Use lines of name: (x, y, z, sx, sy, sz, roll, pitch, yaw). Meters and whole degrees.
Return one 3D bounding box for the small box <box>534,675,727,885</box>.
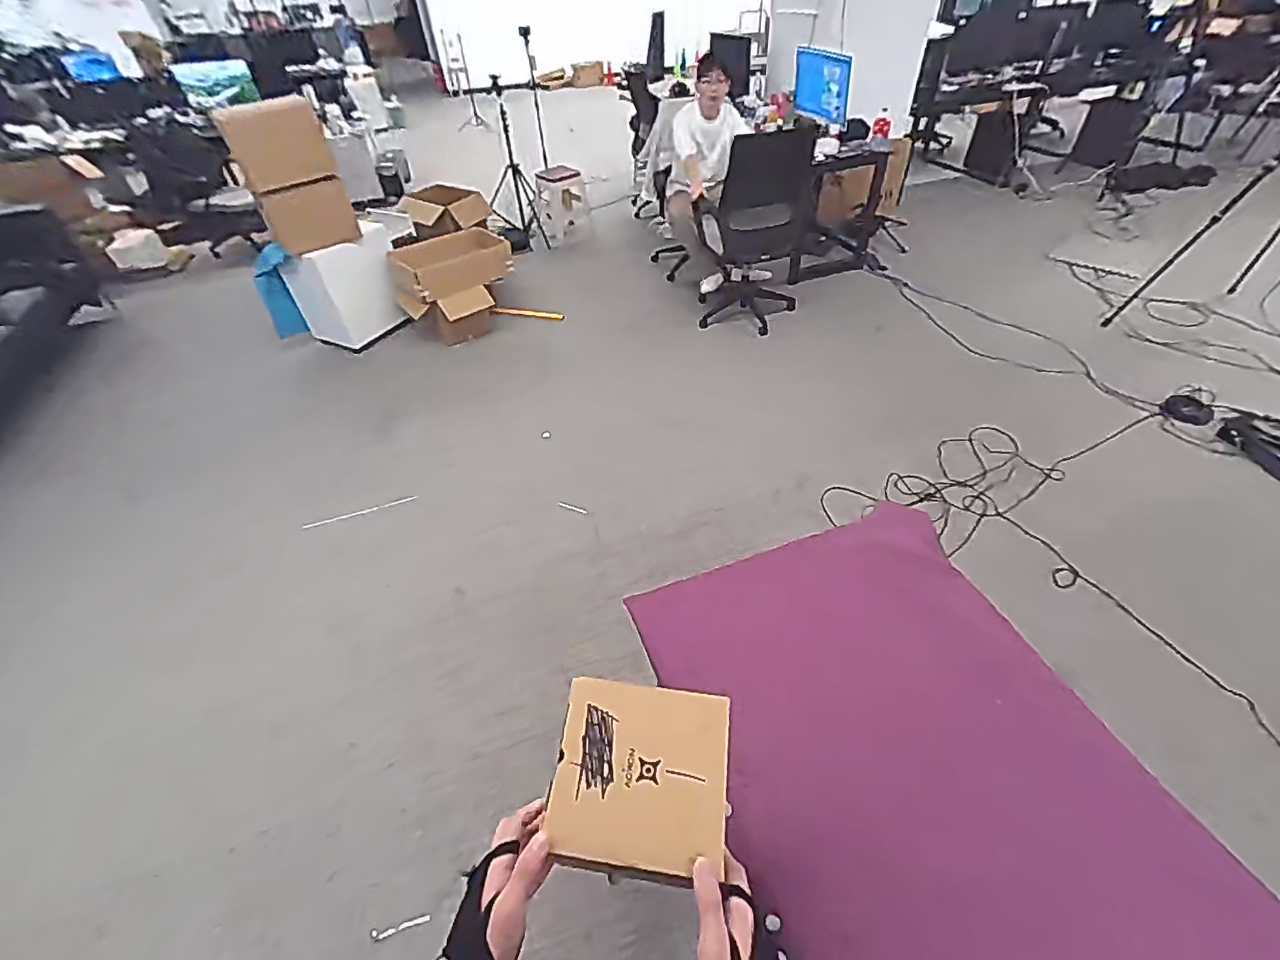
small box: (-0.001, 0.338, 0.606, 0.179, 0.176, 0.168, 6, 51, 6)
